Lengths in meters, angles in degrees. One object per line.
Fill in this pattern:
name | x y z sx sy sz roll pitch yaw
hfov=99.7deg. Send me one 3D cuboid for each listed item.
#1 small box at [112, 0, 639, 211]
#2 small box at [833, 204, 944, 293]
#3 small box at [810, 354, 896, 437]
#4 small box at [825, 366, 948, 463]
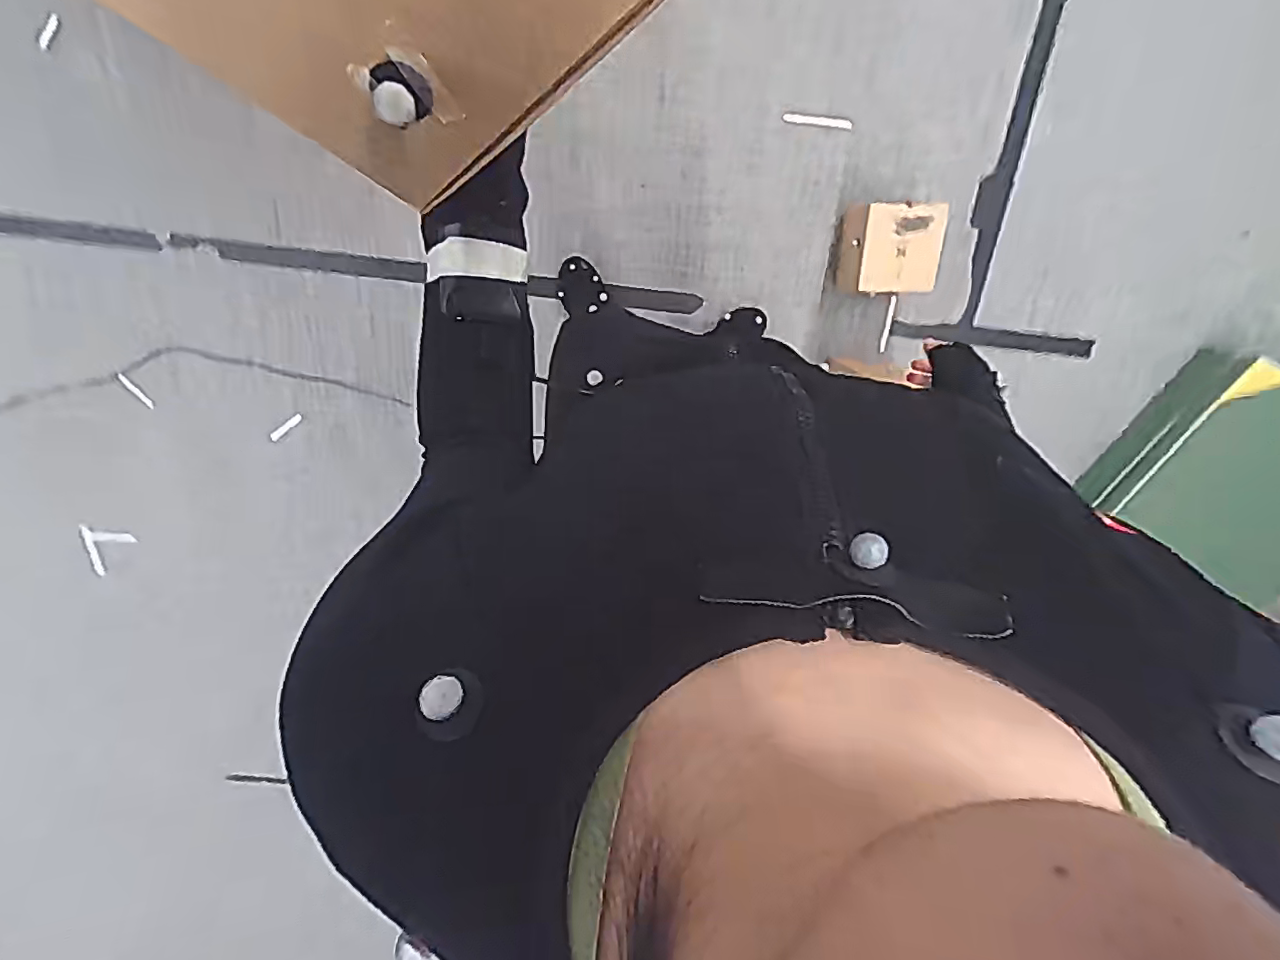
small box | -0.102 -0.247 0.184 0.179 0.168 0.176 -21 156 33
small box | 0.557 -0.527 1.239 0.168 0.176 0.179 1 113 1
small box | 0.548 -0.206 1.371 0.168 0.176 0.179 9 113 -3
small box | 0.542 -0.154 1.217 0.179 0.176 0.168 9 111 -2
